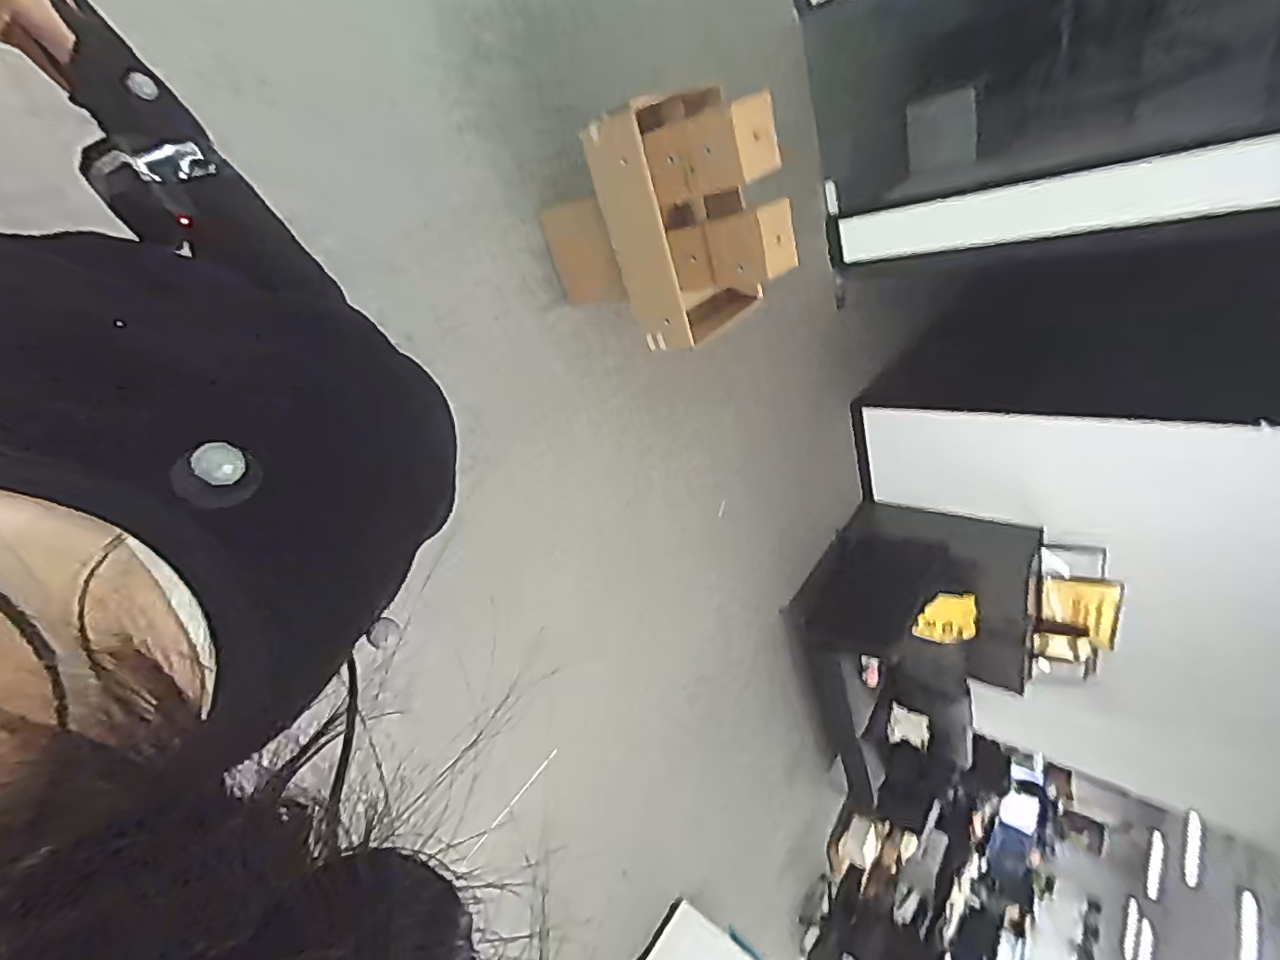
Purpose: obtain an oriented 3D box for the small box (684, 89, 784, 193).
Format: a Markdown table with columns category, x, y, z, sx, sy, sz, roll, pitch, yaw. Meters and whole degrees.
| category | x | y | z | sx | sy | sz | roll | pitch | yaw |
| --- | --- | --- | --- | --- | --- | --- | --- | --- | --- |
| small box | 0.226 | -0.829 | 1.333 | 0.179 | 0.176 | 0.168 | -41 | 125 | -33 |
